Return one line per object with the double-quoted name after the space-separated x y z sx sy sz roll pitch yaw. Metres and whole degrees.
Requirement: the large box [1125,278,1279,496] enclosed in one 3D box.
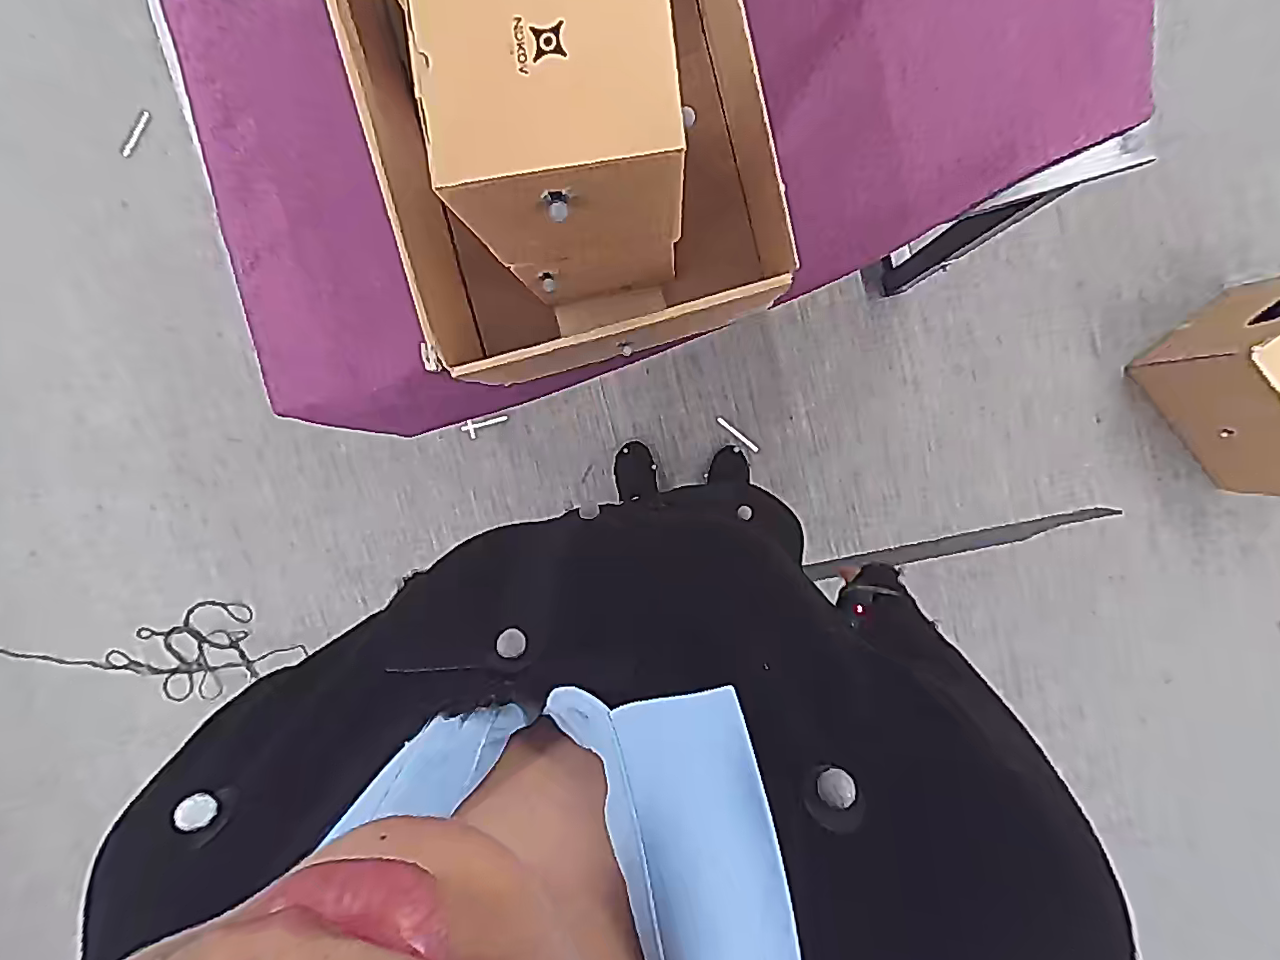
1.449 -0.205 1.203 0.320 0.320 0.408 -41 90 6 "large box"
